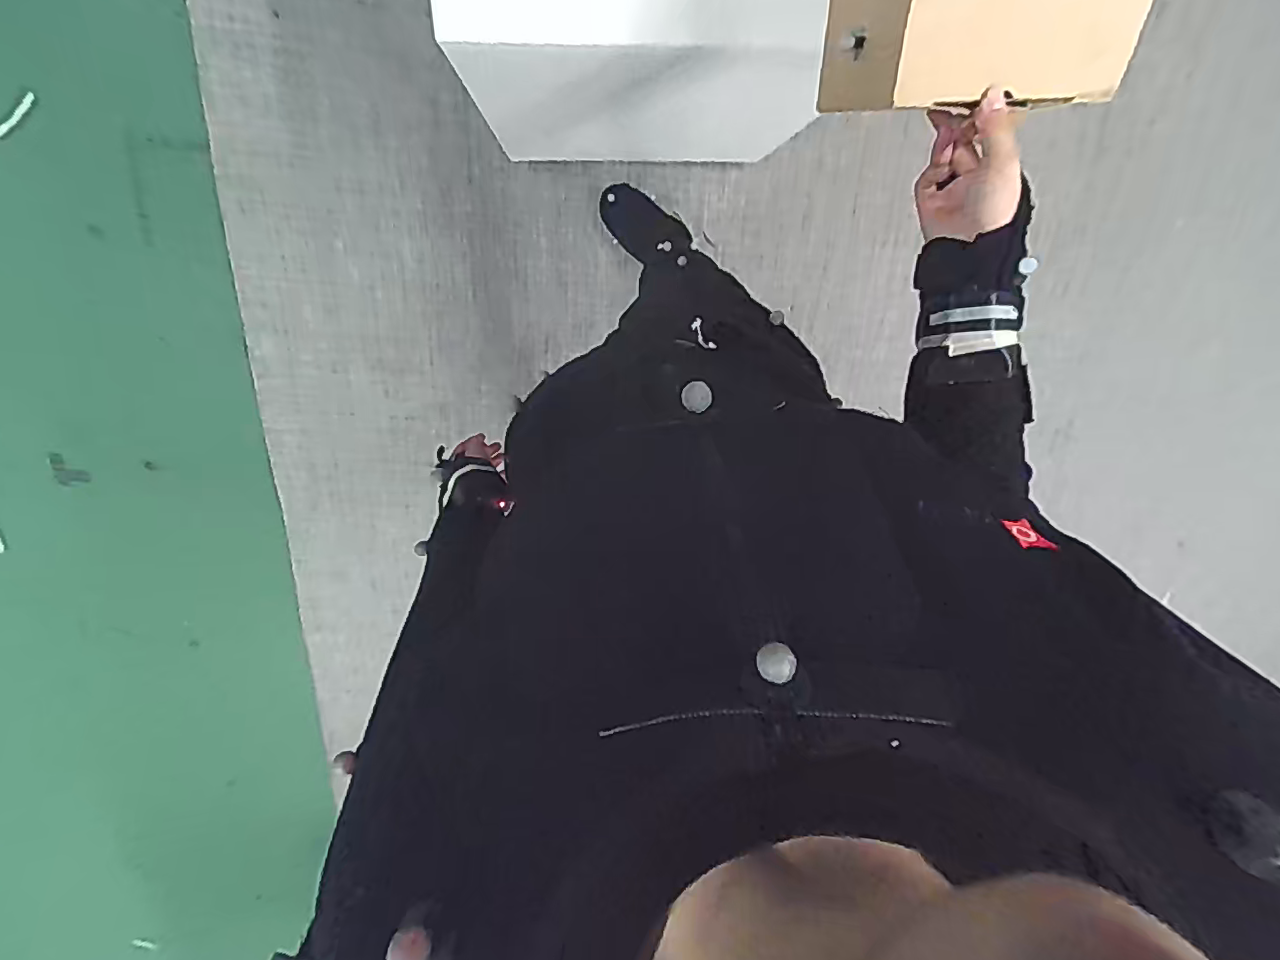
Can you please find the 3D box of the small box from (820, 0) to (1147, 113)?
[{"bbox_3d":[0.250,-0.384,0.407,0.168,0.176,0.179,-4,122,-2],"label":"small box"}]
